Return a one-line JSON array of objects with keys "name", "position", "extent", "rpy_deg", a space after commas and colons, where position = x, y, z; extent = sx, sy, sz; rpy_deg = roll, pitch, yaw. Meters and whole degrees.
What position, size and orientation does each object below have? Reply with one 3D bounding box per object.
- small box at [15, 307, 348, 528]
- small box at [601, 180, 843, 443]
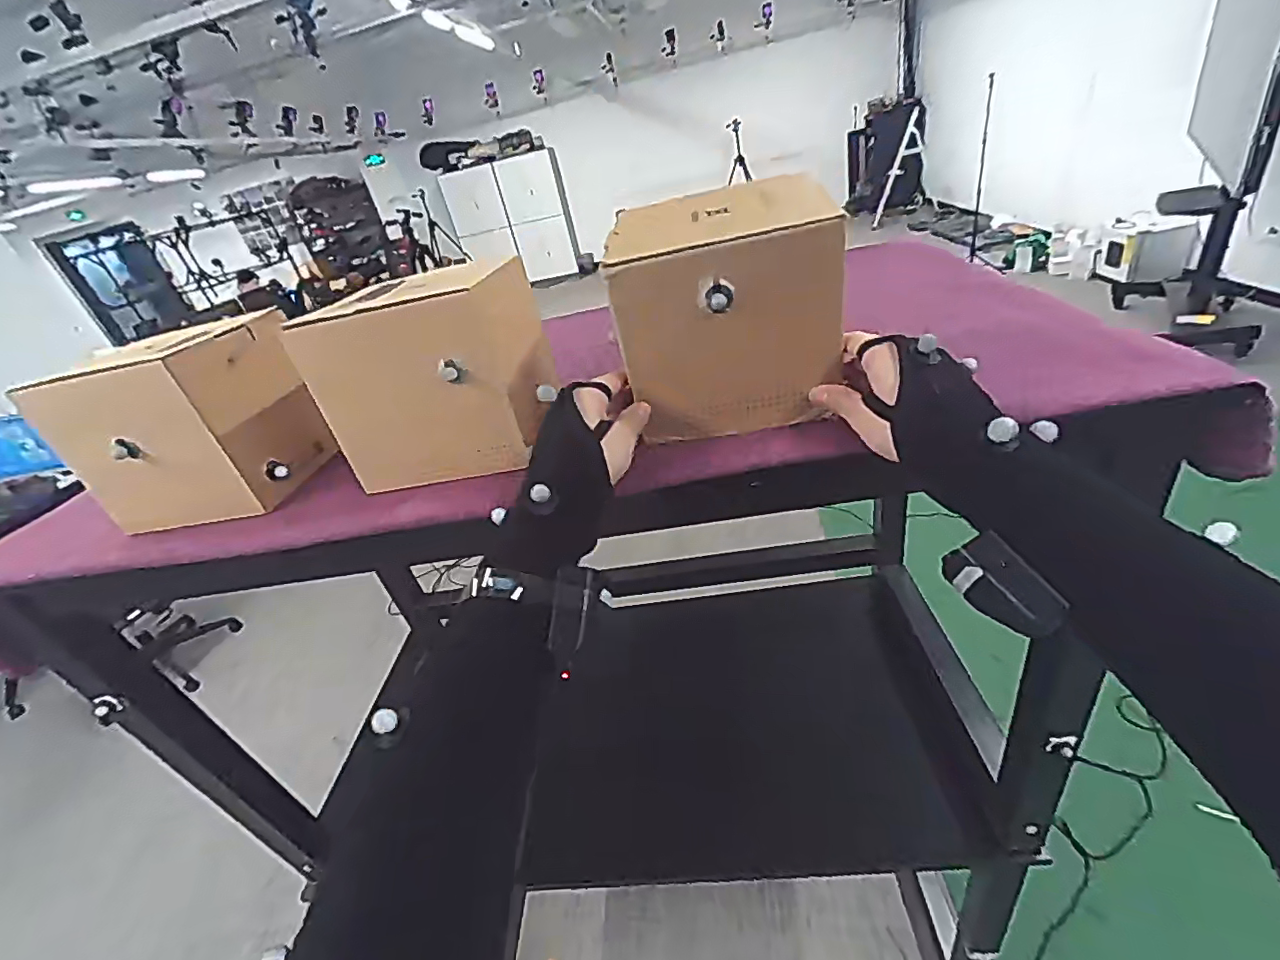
[{"name": "small box", "position": [-0.461, -0.067, 0.582], "extent": [0.179, 0.176, 0.168], "rpy_deg": [-9, 31, 10]}, {"name": "small box", "position": [0.079, -0.148, 0.489], "extent": [0.179, 0.176, 0.168], "rpy_deg": [-7, 37, 11]}]
